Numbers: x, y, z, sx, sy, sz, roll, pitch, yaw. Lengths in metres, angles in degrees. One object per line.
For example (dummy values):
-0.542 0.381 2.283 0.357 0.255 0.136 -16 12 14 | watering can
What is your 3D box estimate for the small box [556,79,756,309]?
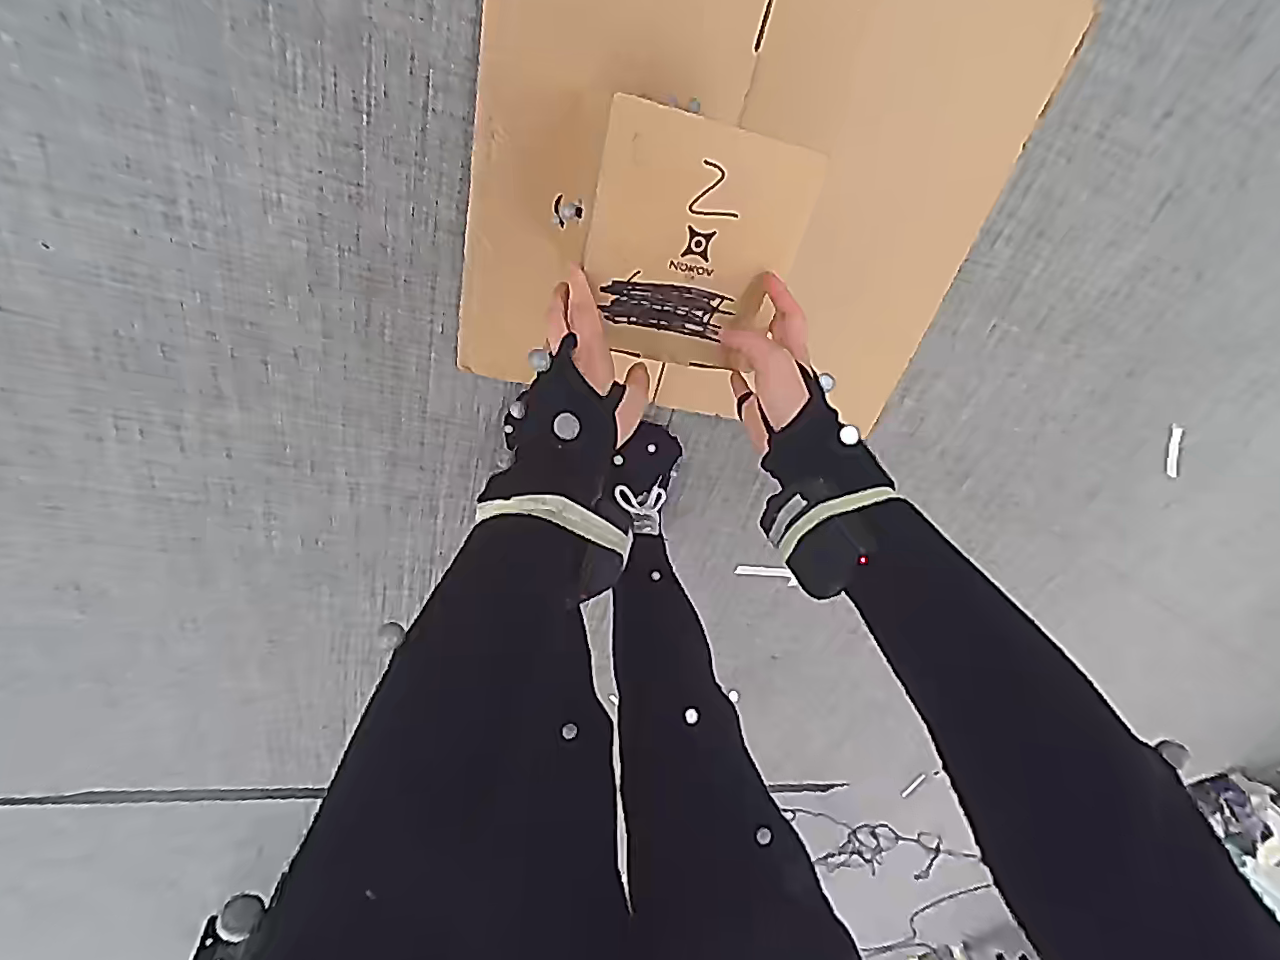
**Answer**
0.001 -0.319 0.609 0.168 0.176 0.179 7 122 -18 | small box
